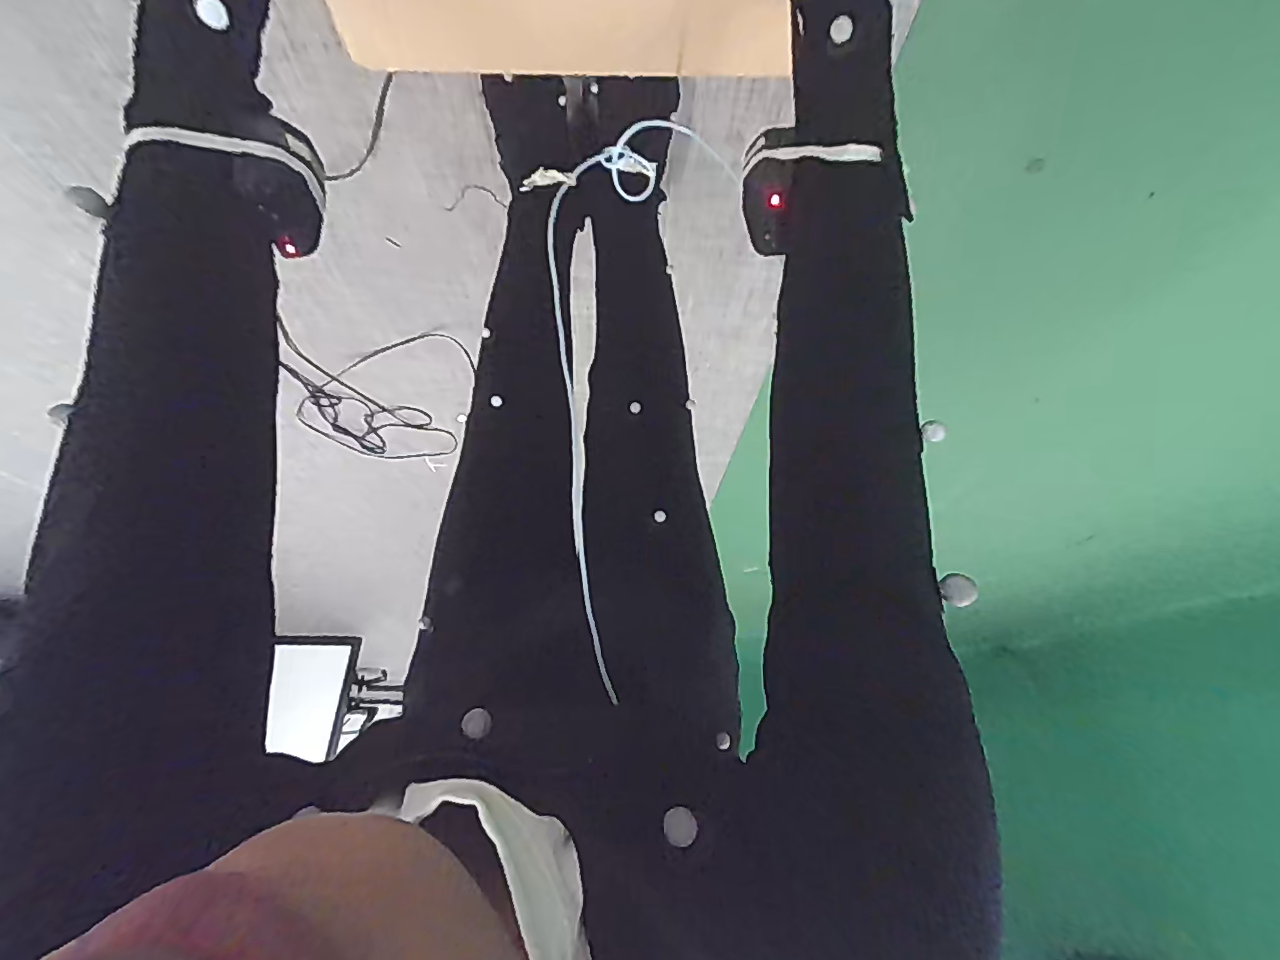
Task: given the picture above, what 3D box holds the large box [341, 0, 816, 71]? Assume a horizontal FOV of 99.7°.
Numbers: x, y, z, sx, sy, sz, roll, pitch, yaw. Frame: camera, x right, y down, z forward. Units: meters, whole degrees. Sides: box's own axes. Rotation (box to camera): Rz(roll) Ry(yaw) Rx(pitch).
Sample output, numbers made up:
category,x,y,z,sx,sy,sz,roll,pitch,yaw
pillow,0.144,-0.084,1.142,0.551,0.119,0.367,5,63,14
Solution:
category,x,y,z,sx,sy,sz,roll,pitch,yaw
large box,-0.054,-0.579,0.424,0.408,0.320,0.320,-1,155,-2
